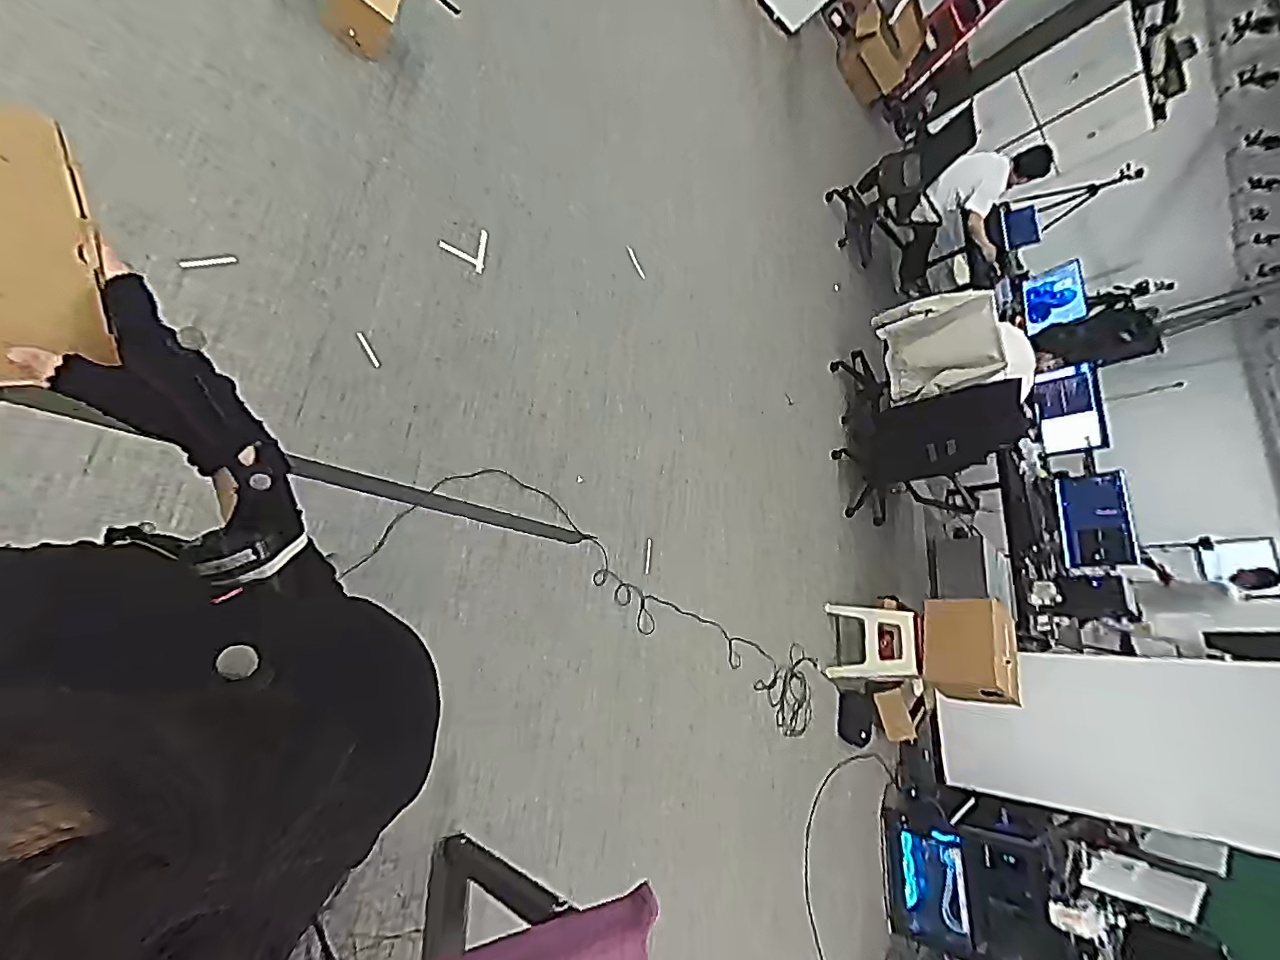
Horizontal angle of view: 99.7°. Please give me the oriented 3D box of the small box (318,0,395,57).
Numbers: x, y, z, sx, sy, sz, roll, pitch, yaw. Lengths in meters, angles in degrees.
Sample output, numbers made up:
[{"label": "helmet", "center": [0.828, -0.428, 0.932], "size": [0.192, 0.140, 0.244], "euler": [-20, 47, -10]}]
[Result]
[{"label": "small box", "center": [-0.867, -1.475, 1.661], "size": [0.168, 0.176, 0.179], "euler": [19, 68, -39]}]

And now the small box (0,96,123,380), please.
[{"label": "small box", "center": [-0.474, -0.154, 0.352], "size": [0.179, 0.176, 0.168], "euler": [-12, 110, -41]}]
